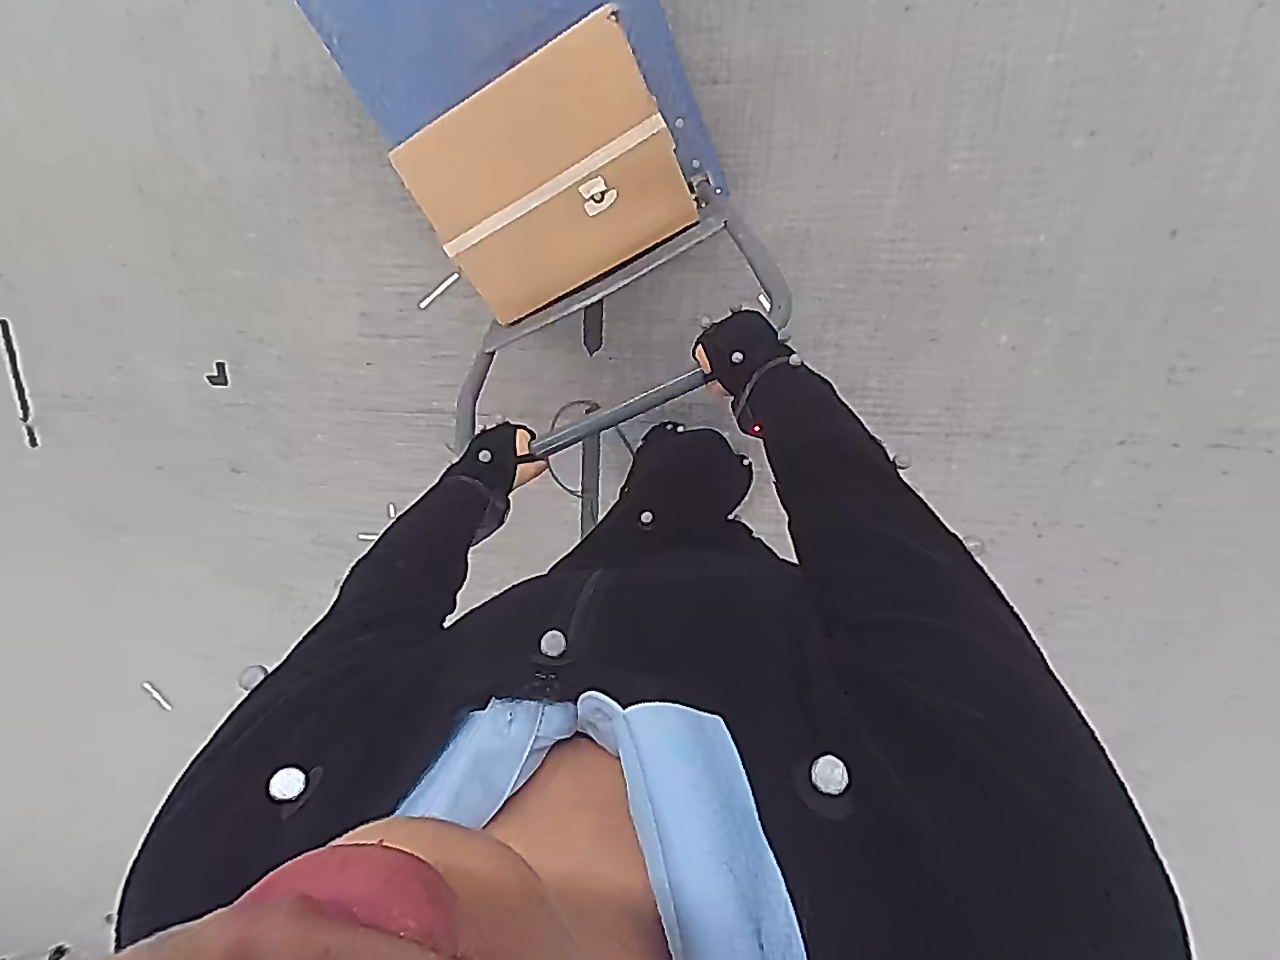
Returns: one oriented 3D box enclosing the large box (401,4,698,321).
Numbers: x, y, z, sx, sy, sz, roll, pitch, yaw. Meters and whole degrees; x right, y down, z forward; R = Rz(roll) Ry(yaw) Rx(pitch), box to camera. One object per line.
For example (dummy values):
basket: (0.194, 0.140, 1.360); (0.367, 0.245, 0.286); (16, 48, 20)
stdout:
large box: (-0.149, -0.567, 1.015); (0.408, 0.320, 0.320); (-25, 122, 13)
